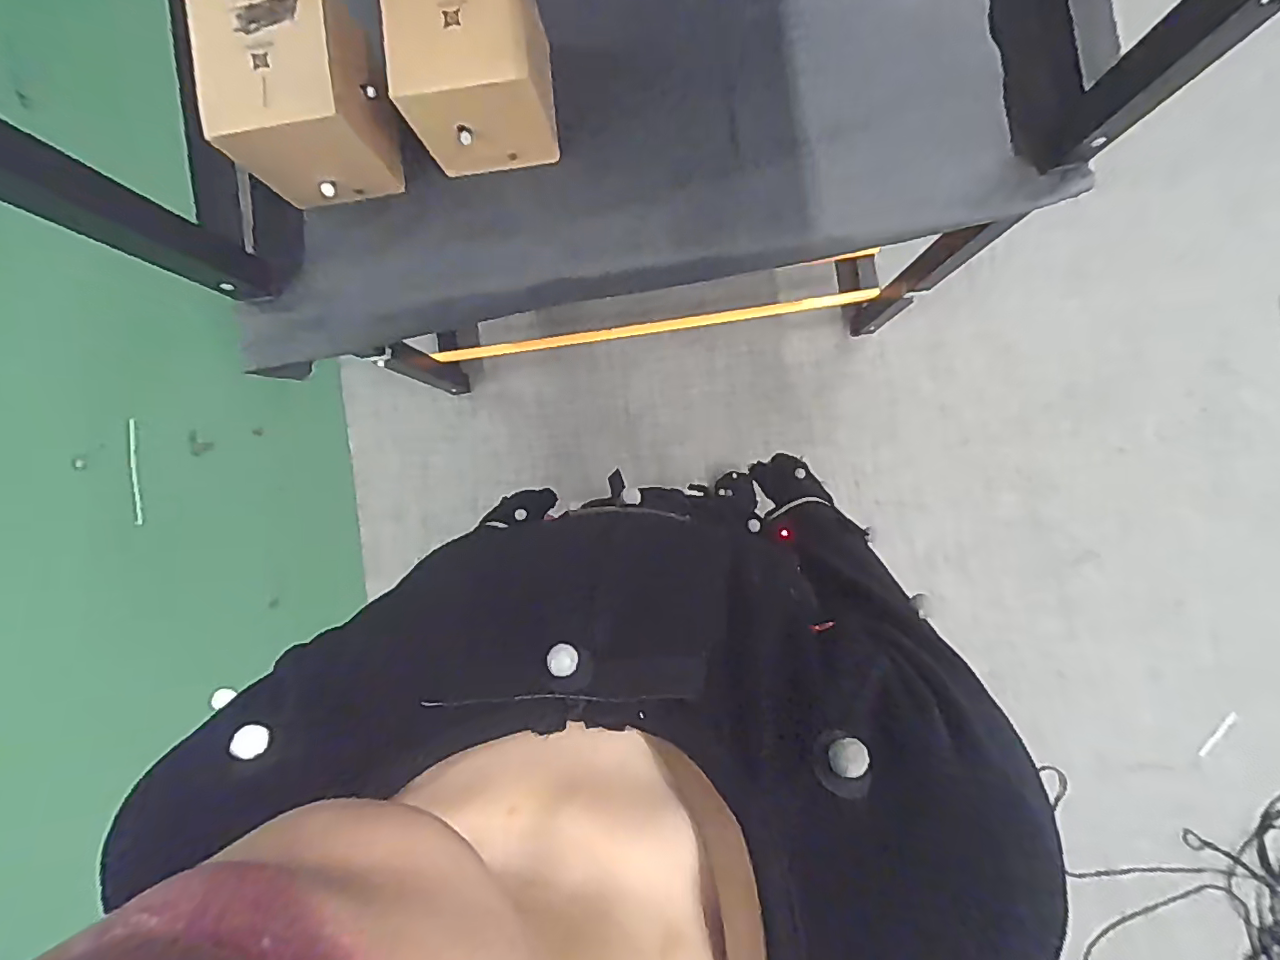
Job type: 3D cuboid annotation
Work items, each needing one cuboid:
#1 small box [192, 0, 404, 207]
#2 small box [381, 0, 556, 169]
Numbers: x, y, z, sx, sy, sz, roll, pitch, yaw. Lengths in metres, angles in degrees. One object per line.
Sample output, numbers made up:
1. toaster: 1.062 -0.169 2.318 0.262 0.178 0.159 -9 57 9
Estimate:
1. small box: -0.436 -0.496 0.713 0.168 0.176 0.179 -8 89 3
2. small box: -0.212 -0.534 0.703 0.168 0.176 0.179 -6 88 3
